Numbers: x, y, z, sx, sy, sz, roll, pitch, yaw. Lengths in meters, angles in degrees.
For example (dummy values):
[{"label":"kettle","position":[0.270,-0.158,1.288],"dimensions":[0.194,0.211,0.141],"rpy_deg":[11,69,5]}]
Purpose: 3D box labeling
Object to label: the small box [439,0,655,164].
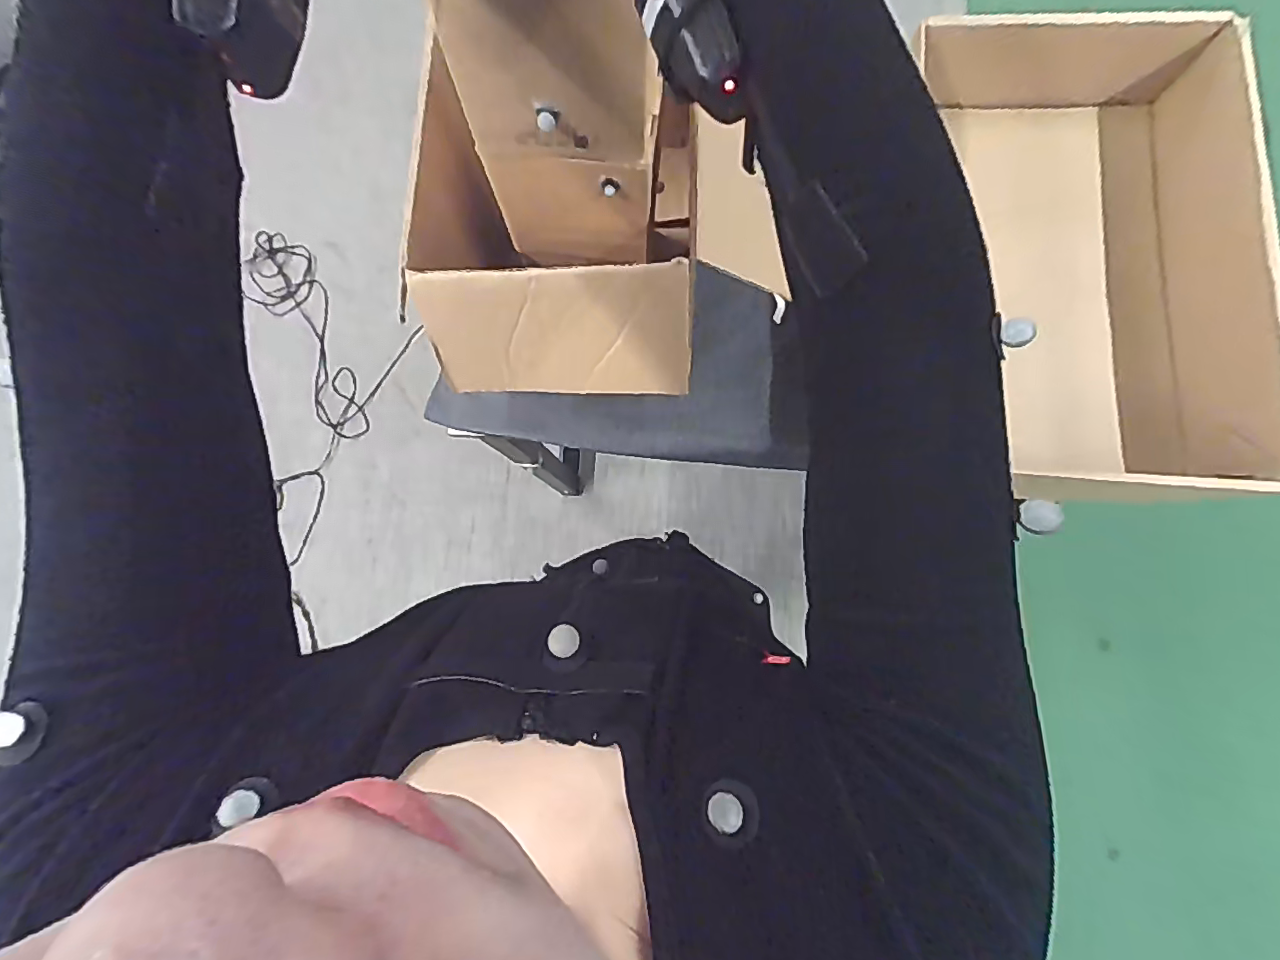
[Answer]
[{"label":"small box","position":[-0.070,-0.417,0.470],"dimensions":[0.168,0.176,0.179],"rpy_deg":[3,79,0]}]
